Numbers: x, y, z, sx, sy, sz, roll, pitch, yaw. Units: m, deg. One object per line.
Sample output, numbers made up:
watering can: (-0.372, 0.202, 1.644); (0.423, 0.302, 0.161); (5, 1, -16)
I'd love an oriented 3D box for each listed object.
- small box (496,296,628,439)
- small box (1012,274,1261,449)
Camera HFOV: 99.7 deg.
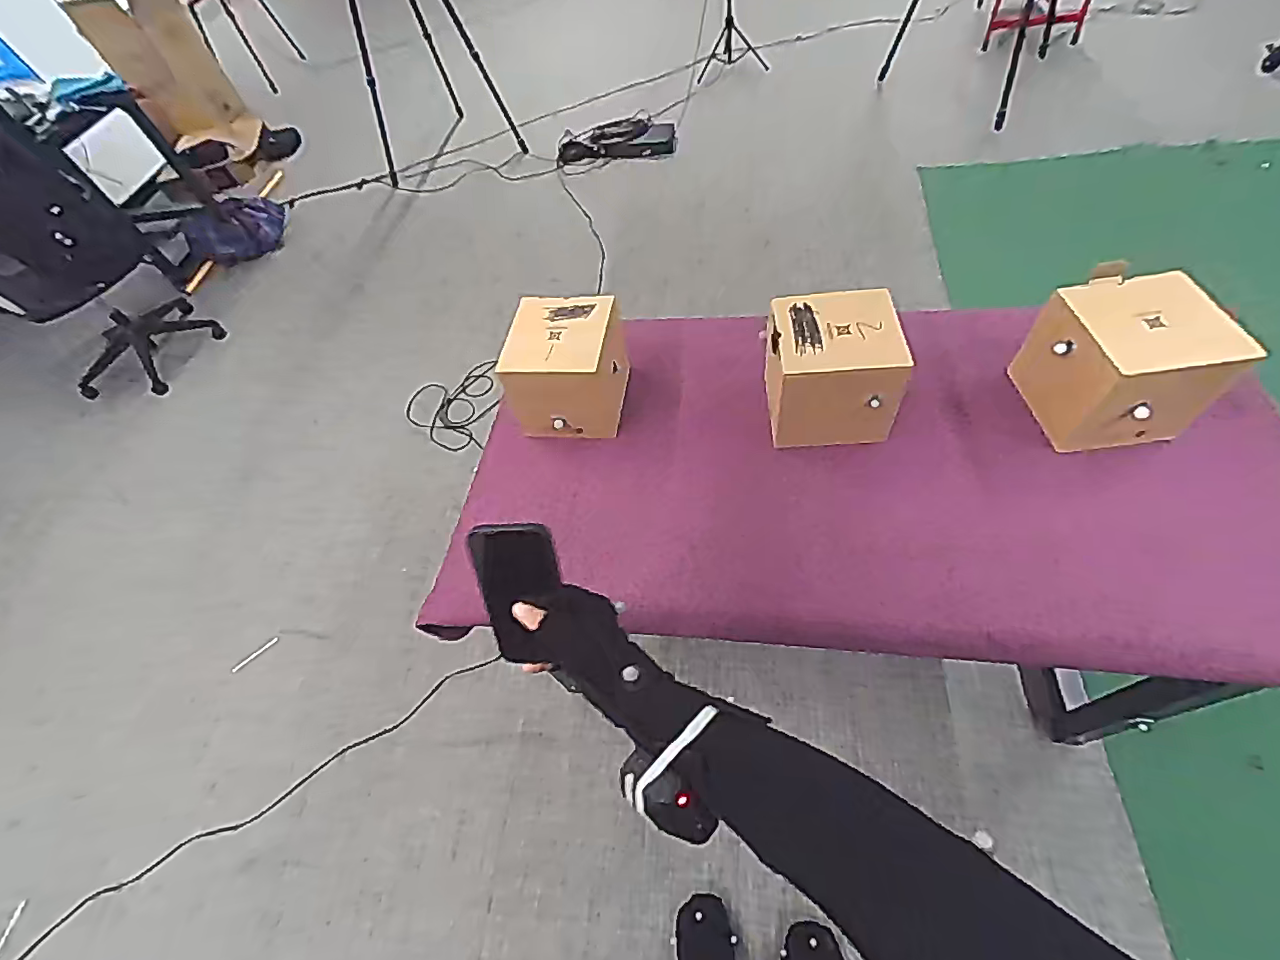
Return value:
small box: (-0.121, -0.191, 0.925); (0.168, 0.176, 0.179); (3, 58, 11)
small box: (0.678, -0.158, 0.770); (0.168, 0.176, 0.179); (-7, 55, 6)
